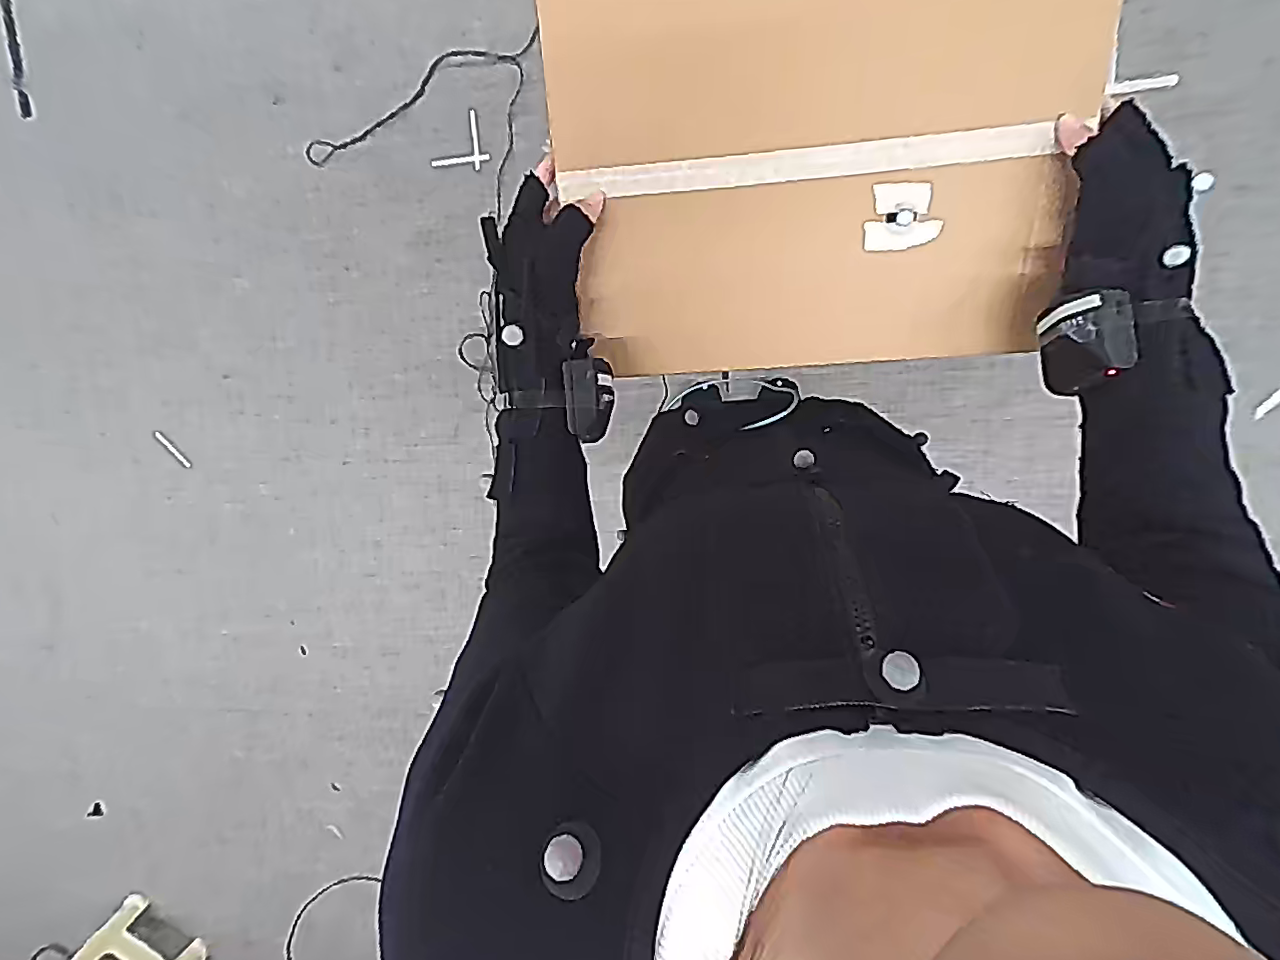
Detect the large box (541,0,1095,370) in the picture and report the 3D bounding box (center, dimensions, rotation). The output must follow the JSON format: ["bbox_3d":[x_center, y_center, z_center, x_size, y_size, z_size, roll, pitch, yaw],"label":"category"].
[{"bbox_3d":[0.140,-0.308,0.569,0.408,0.320,0.320,-3,111,4],"label":"large box"}]
